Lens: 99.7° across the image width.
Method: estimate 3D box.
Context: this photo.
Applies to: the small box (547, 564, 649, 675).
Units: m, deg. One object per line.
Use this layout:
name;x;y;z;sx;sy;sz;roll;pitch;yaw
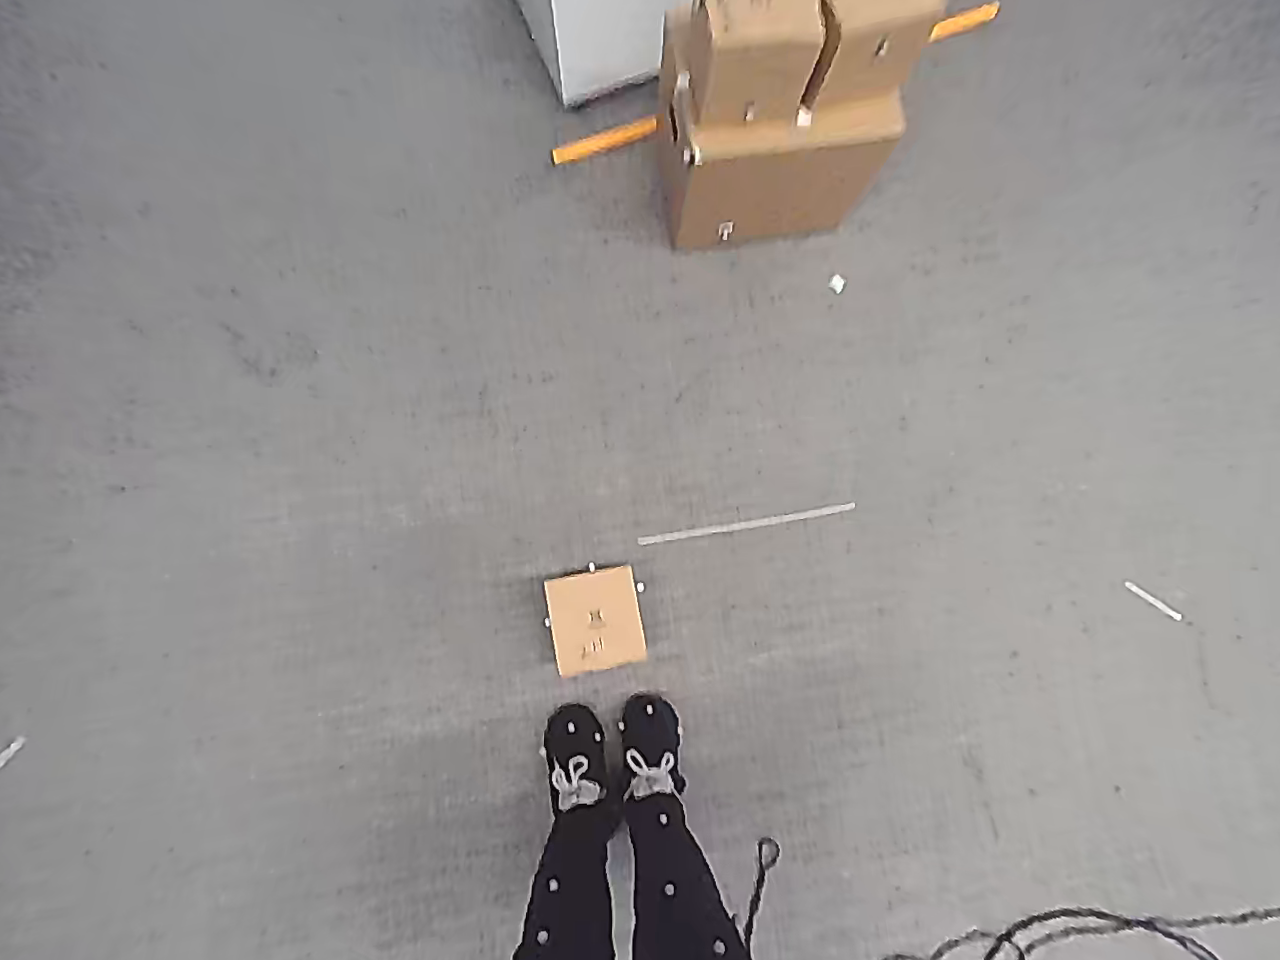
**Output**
small box;-0.081;0.266;1.066;0.168;0.176;0.179;-10;82;-3
